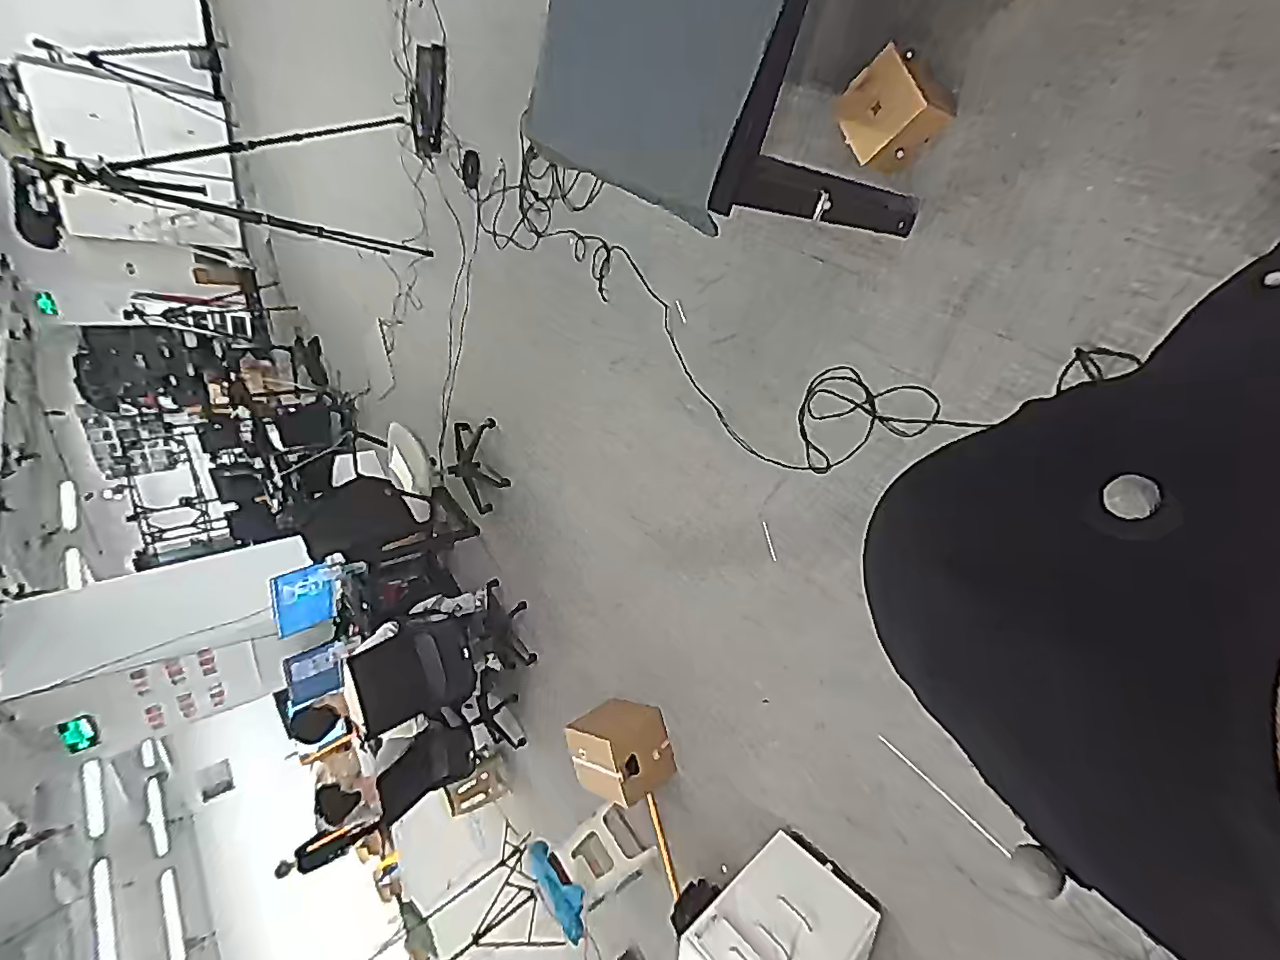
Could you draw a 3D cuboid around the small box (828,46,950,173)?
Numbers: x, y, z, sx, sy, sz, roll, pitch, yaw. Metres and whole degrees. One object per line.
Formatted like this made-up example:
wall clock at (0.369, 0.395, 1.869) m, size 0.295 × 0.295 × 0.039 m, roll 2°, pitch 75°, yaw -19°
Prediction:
small box at (0.582, -0.848, 1.260) m, size 0.168 × 0.176 × 0.179 m, roll -34°, pitch 75°, yaw 49°
